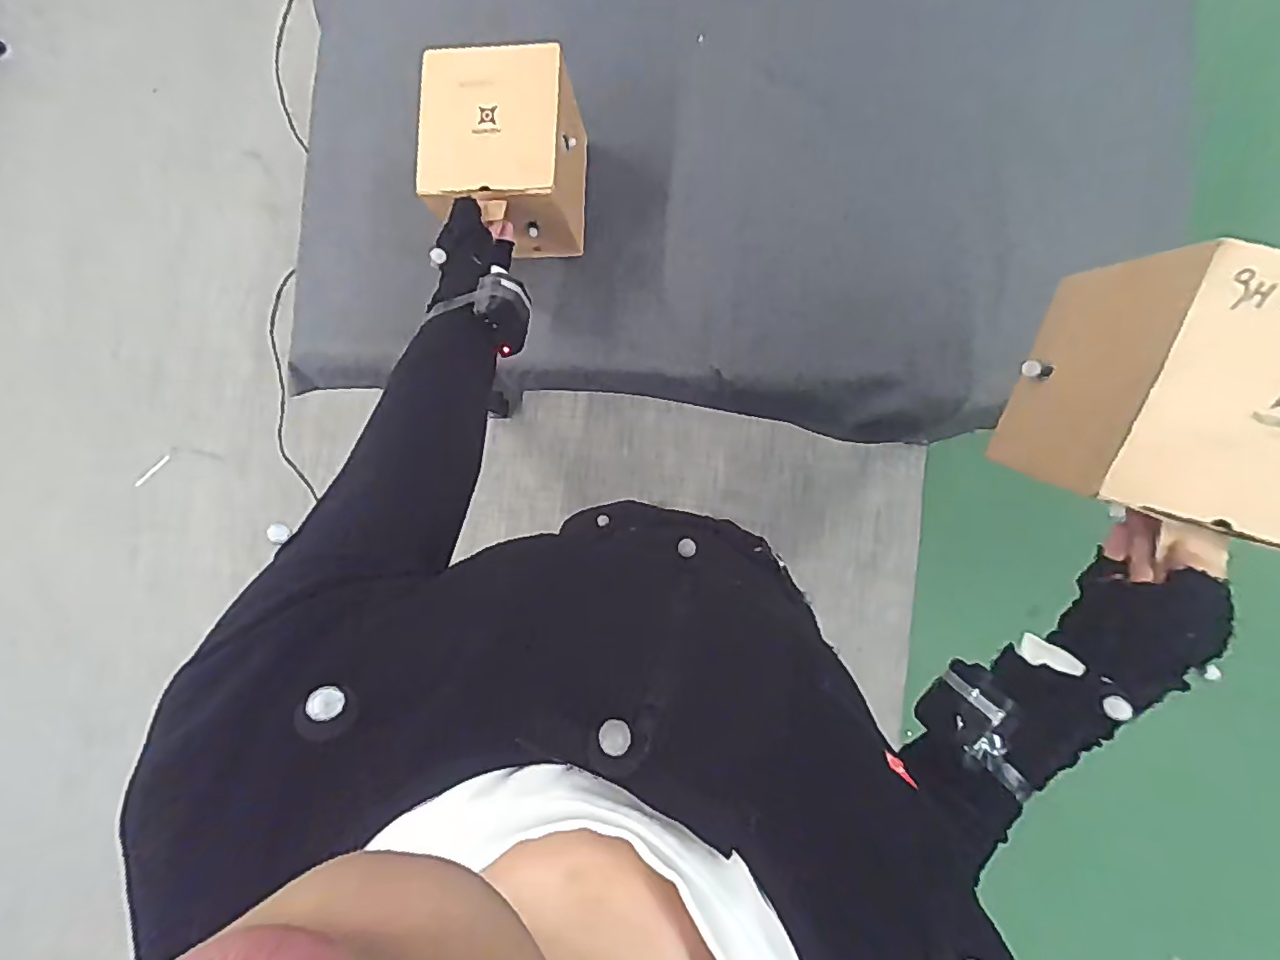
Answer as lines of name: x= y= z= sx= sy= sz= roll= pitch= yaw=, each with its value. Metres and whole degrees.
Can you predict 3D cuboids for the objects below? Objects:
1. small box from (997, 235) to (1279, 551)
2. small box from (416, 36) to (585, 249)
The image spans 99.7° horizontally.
small box: x=0.424 y=-0.067 z=0.426 sx=0.168 sy=0.176 sz=0.179 roll=17 pitch=105 yaw=4
small box: x=-0.167 y=-0.416 z=0.697 sx=0.168 sy=0.176 sz=0.179 roll=1 pitch=87 yaw=5
